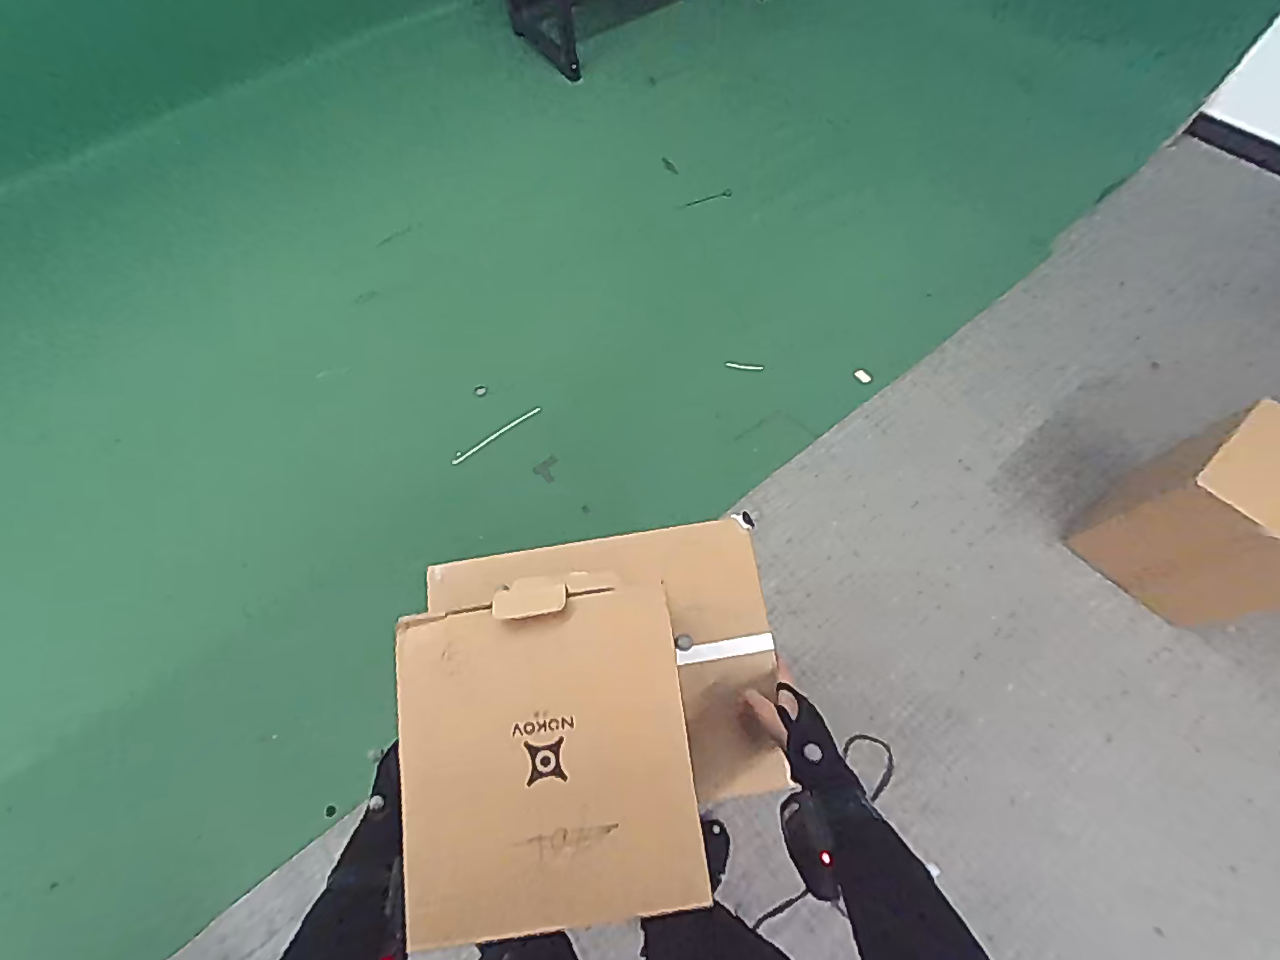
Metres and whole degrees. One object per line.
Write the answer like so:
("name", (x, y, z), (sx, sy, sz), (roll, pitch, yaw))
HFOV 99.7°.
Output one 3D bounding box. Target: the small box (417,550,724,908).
("small box", (-0.043, 0.154, 0.387), (0.168, 0.176, 0.179), (-8, 78, 0))
